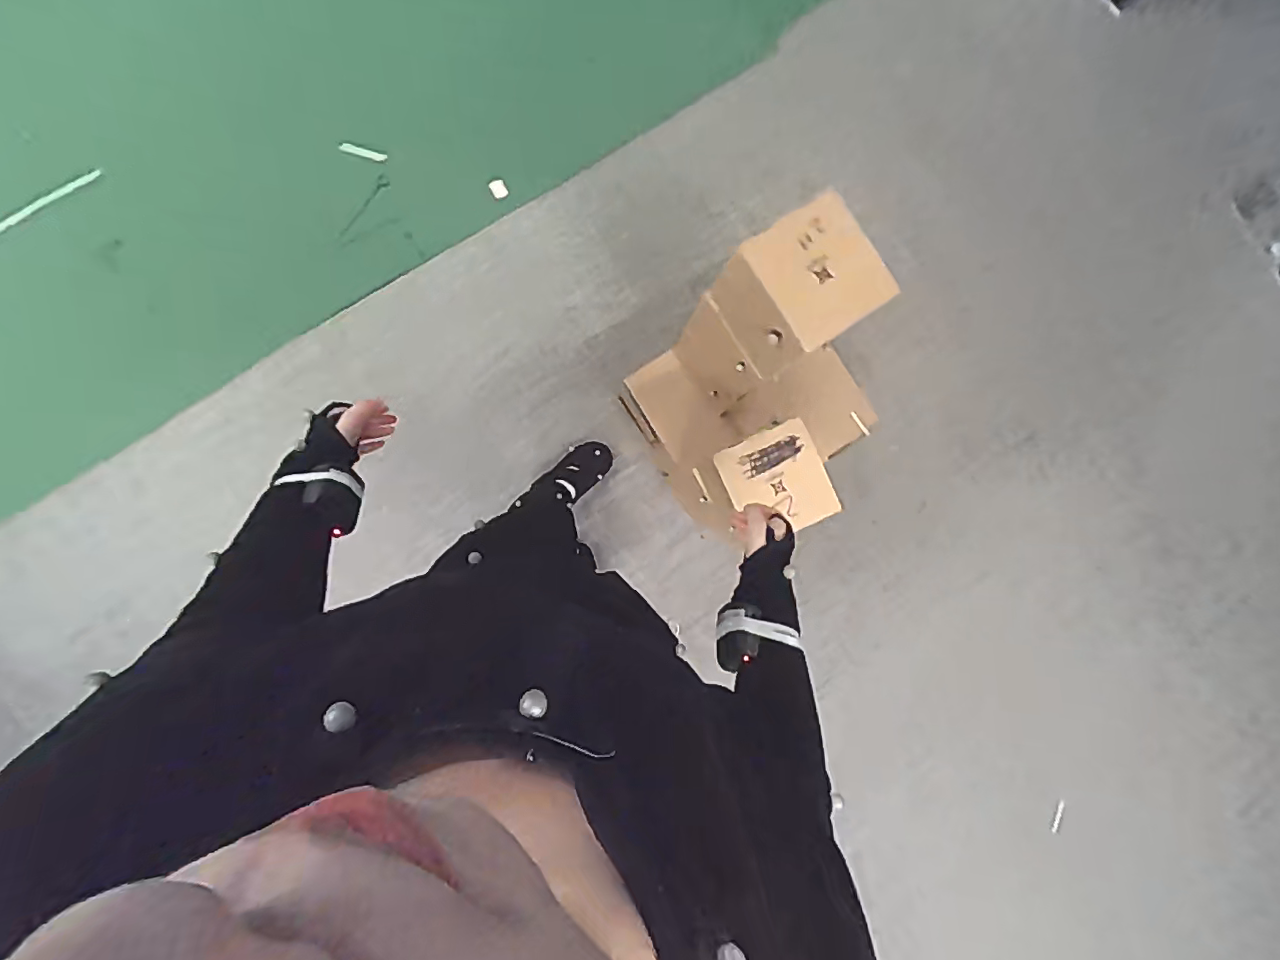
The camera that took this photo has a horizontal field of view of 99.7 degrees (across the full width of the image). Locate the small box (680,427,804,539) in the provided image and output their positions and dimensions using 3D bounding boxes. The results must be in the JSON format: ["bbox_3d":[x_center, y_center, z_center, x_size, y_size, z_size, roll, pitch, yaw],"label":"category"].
[{"bbox_3d":[0.204,0.005,1.131,0.179,0.176,0.168,-29,92,-5],"label":"small box"}]

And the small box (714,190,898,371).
[{"bbox_3d":[0.237,-0.282,0.814,0.168,0.176,0.179,-32,91,-7],"label":"small box"}]

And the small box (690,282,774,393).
[{"bbox_3d":[0.212,-0.281,0.978,0.168,0.176,0.179,-34,93,-6],"label":"small box"}]

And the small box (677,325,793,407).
[{"bbox_3d":[0.199,-0.269,1.139,0.168,0.176,0.179,-35,91,-6],"label":"small box"}]
